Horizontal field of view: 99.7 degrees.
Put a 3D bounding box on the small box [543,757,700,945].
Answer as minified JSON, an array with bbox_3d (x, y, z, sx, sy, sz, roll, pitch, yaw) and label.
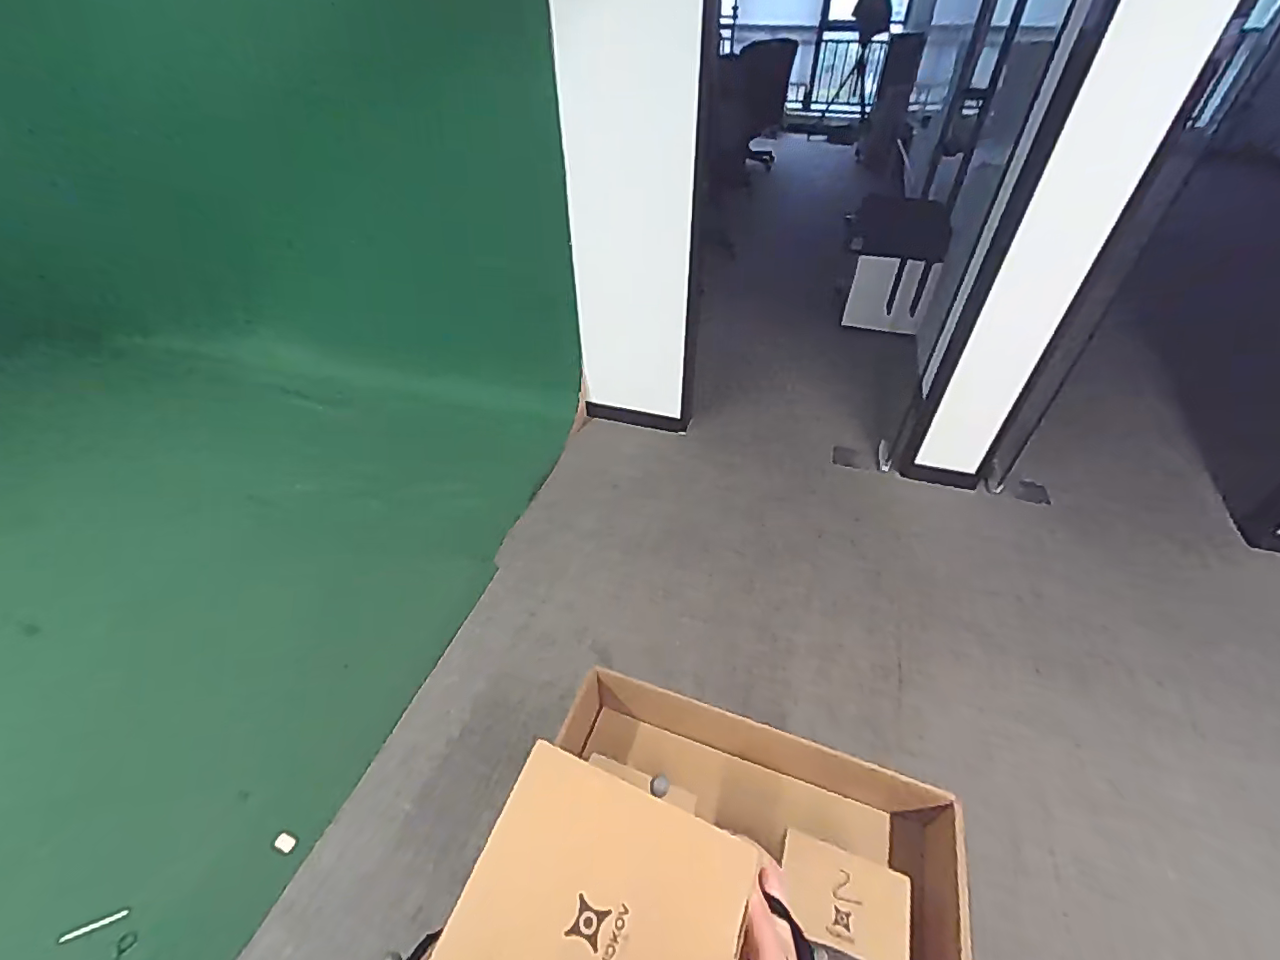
[{"bbox_3d":[-0.022,0.558,0.812,0.179,0.176,0.168,16,46,16],"label":"small box"}]
